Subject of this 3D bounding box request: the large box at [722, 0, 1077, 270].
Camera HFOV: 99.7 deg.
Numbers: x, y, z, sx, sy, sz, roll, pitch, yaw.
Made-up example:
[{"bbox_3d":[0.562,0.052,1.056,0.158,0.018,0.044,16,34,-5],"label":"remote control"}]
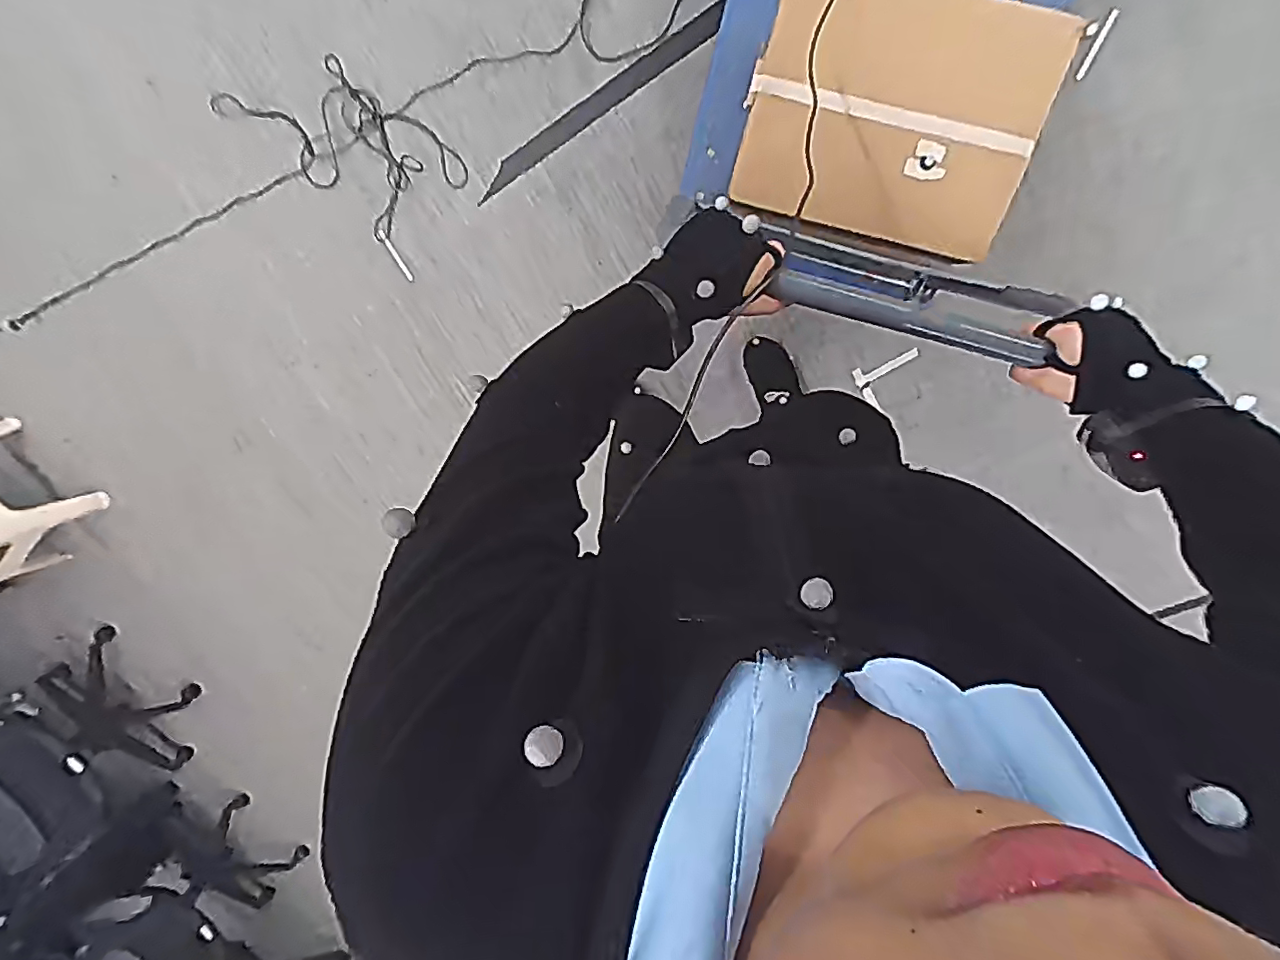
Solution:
[{"bbox_3d":[0.377,-0.564,0.920,0.408,0.320,0.320,15,112,1],"label":"large box"}]
